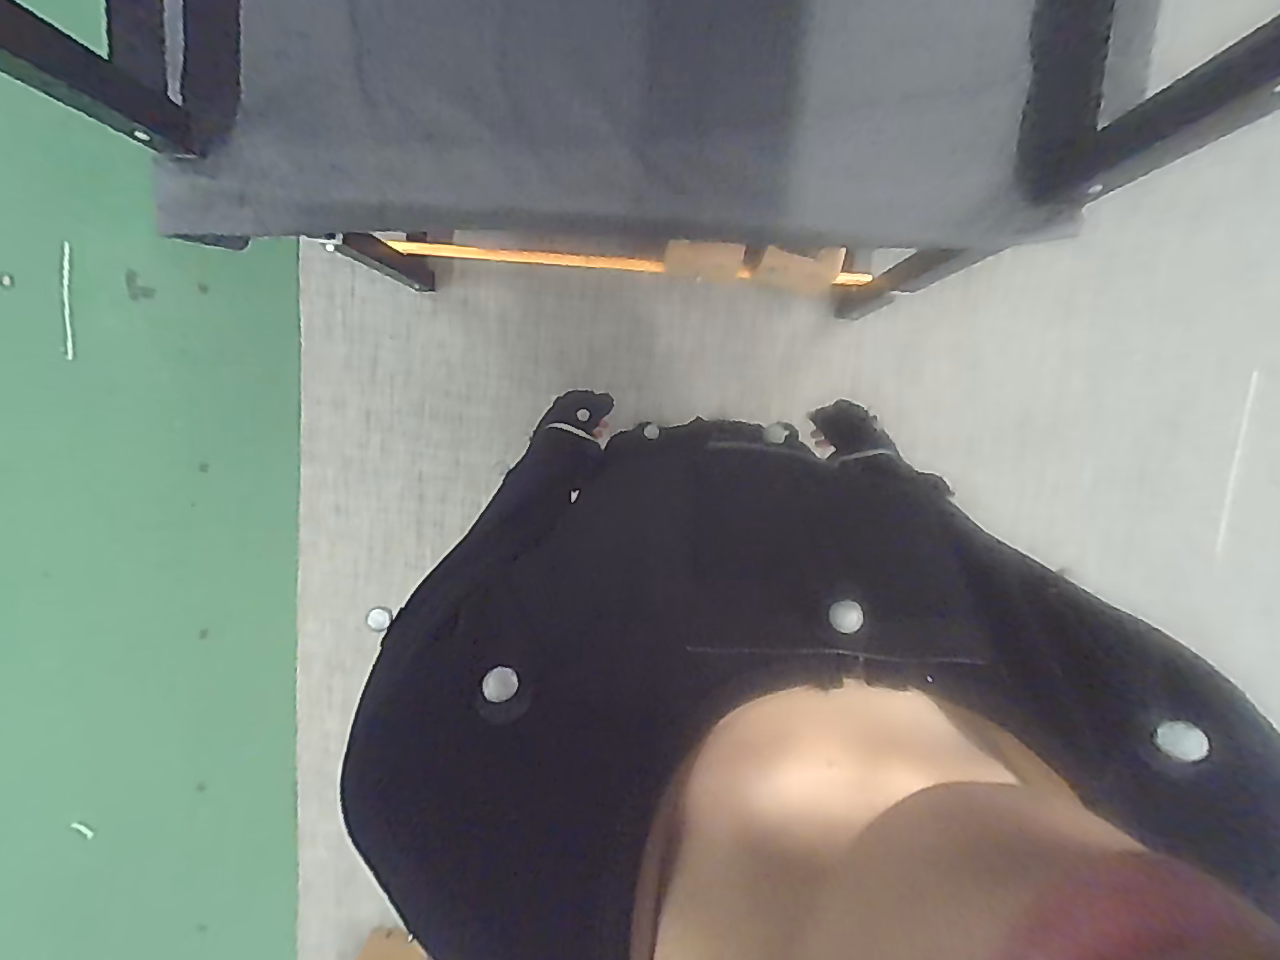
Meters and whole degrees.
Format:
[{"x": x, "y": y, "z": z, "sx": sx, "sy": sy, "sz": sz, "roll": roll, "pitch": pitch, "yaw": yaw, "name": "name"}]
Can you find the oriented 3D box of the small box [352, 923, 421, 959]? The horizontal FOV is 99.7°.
[{"x": -0.774, "y": 1.486, "z": 1.626, "sx": 0.168, "sy": 0.176, "sz": 0.179, "roll": 4, "pitch": 97, "yaw": 3, "name": "small box"}]
